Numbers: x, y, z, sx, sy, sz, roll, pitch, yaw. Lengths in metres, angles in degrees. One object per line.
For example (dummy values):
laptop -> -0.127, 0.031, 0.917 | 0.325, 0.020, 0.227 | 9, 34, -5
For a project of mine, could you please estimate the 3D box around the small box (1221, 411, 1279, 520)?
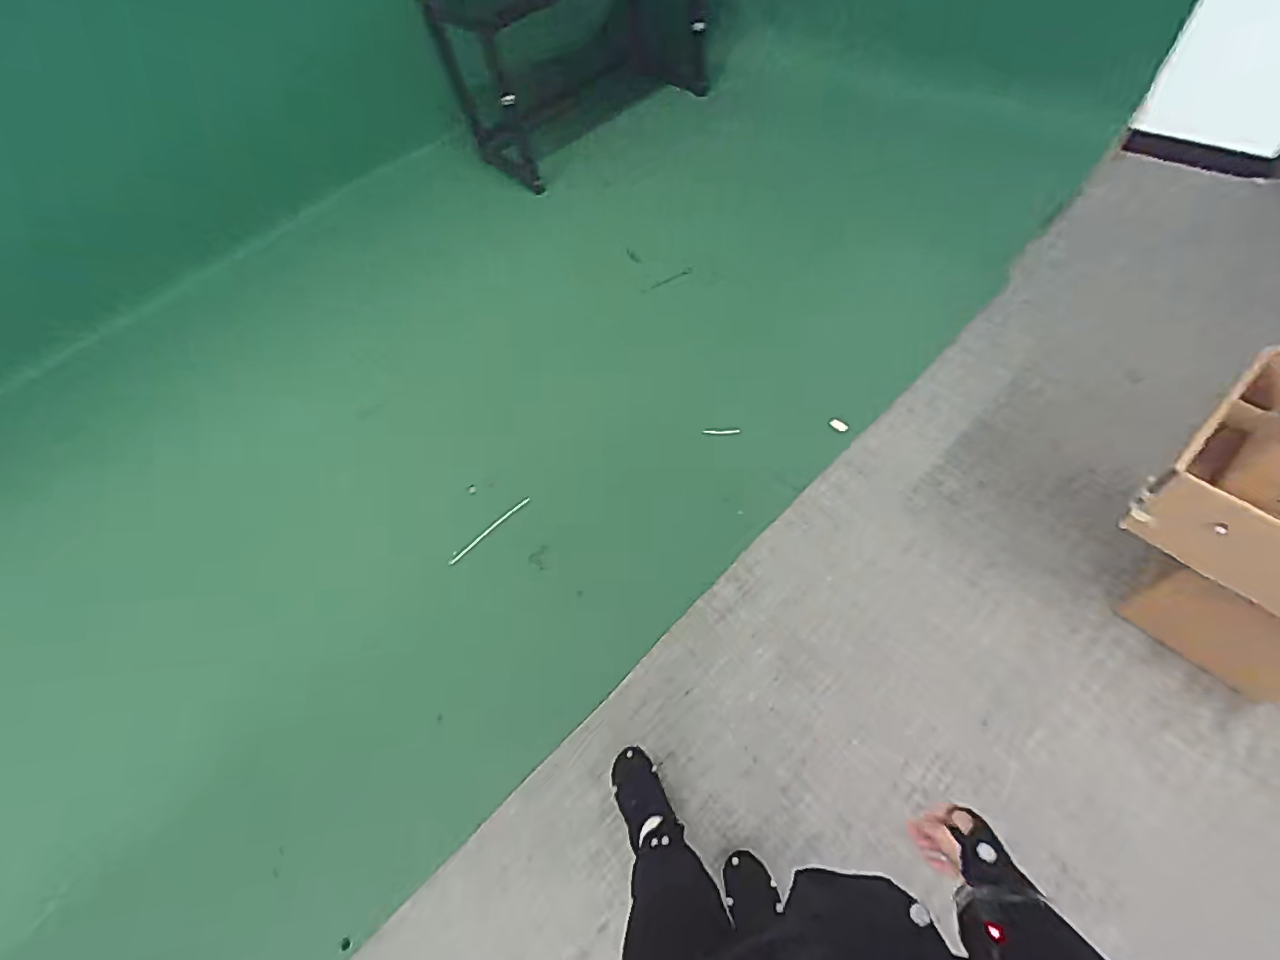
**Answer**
small box -> 1.196, -0.036, 0.948 | 0.168, 0.176, 0.179 | 37, 72, 29
